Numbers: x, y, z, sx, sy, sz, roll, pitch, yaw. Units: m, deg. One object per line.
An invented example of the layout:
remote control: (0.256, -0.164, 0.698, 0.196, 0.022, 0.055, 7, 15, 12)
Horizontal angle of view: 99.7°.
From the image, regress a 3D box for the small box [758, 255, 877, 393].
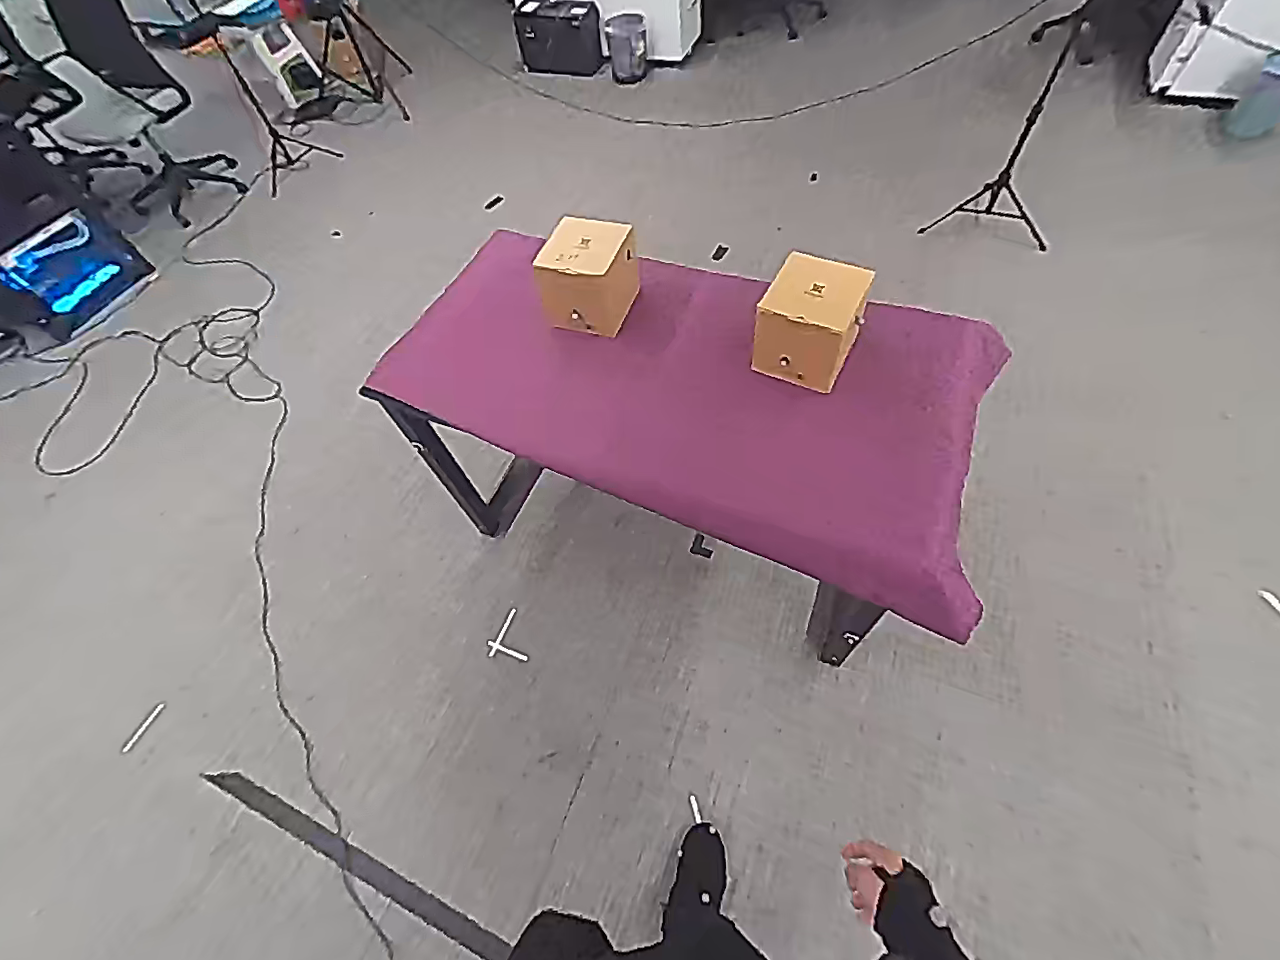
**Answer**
small box: (0.342, -0.306, 1.073, 0.168, 0.176, 0.179, 23, 65, 20)

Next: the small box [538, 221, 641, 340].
small box: (-0.103, -0.447, 1.215, 0.168, 0.176, 0.179, 15, 61, 15)
